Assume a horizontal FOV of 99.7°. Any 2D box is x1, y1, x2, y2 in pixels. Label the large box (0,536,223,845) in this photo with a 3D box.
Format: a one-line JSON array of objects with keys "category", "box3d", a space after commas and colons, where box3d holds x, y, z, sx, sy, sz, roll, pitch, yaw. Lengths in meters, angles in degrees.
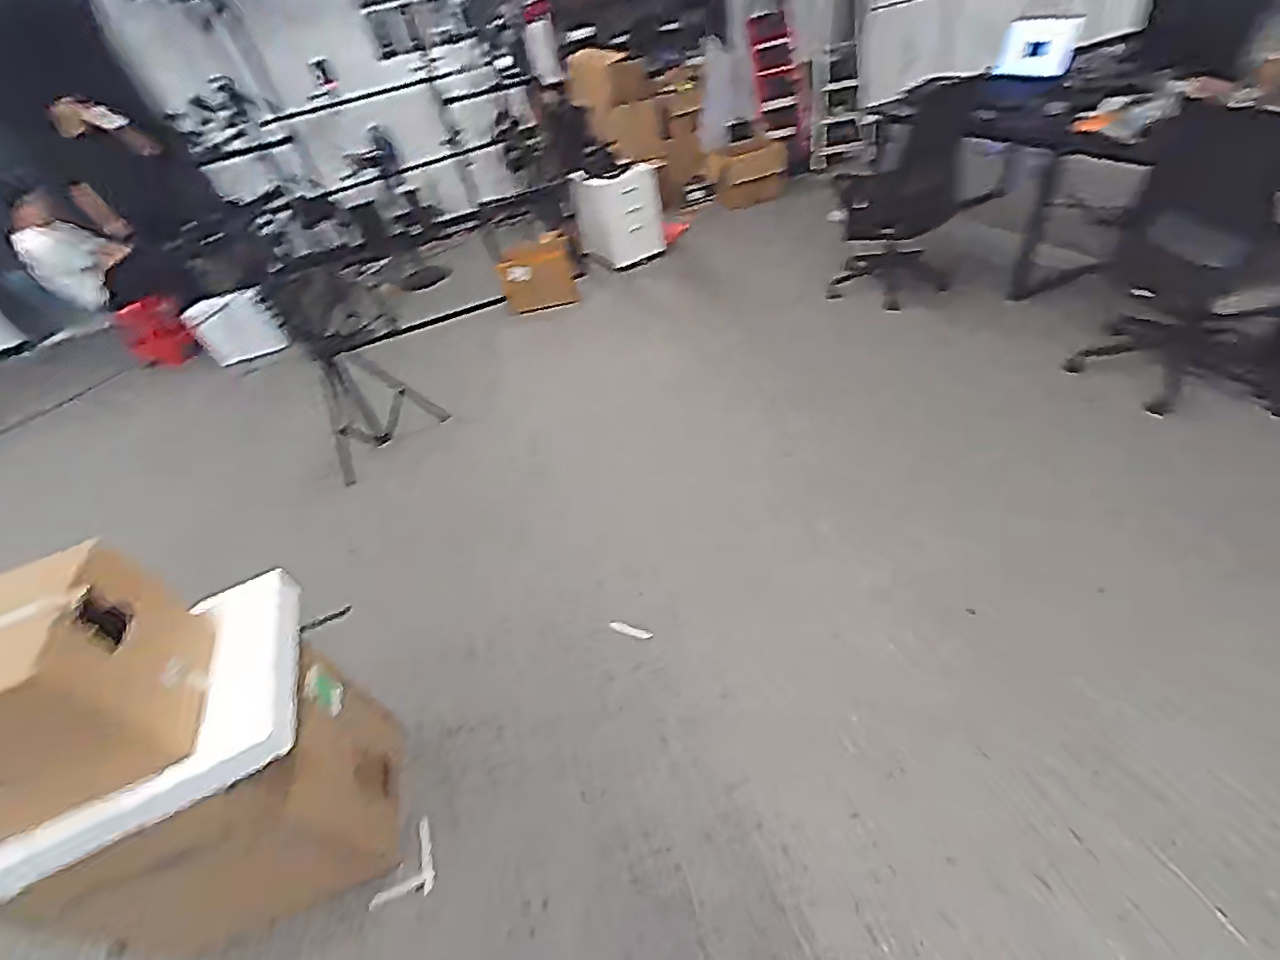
[{"category": "large box", "box3d": [-1.055, 0.374, 0.948, 0.408, 0.320, 0.320, -24, 42, -9]}]
